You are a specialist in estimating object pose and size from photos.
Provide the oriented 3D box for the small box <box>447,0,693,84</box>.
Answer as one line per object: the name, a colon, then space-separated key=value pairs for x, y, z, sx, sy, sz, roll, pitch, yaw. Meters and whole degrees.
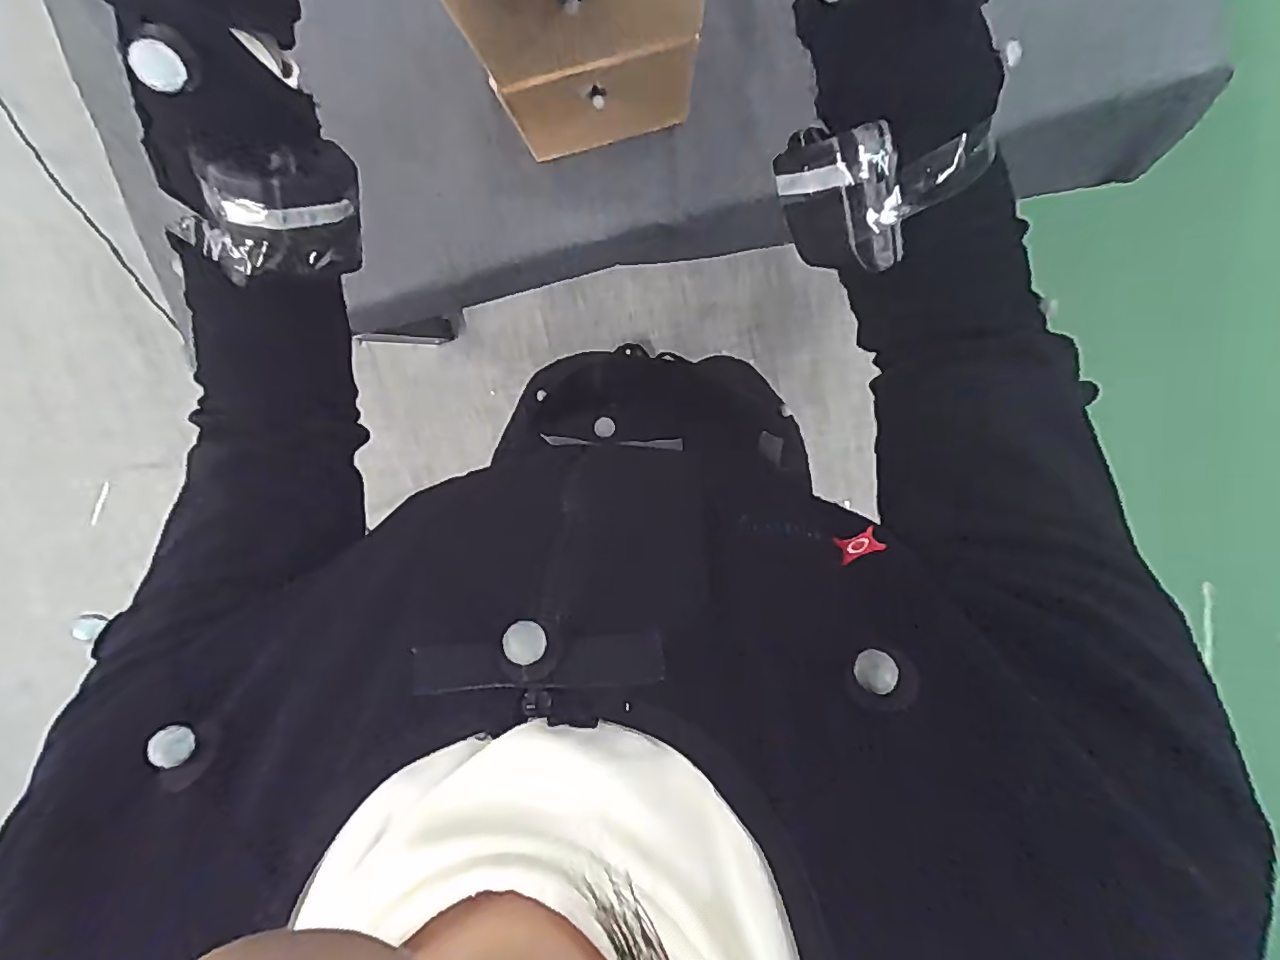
small box: x=-0.056 y=-0.401 z=0.348 sx=0.179 sy=0.176 sz=0.168 roll=-14 pitch=104 yaw=5

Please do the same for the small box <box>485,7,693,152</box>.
small box: x=-0.054 y=-0.439 z=0.508 sx=0.179 sy=0.176 sz=0.168 roll=-12 pitch=104 yaw=4
